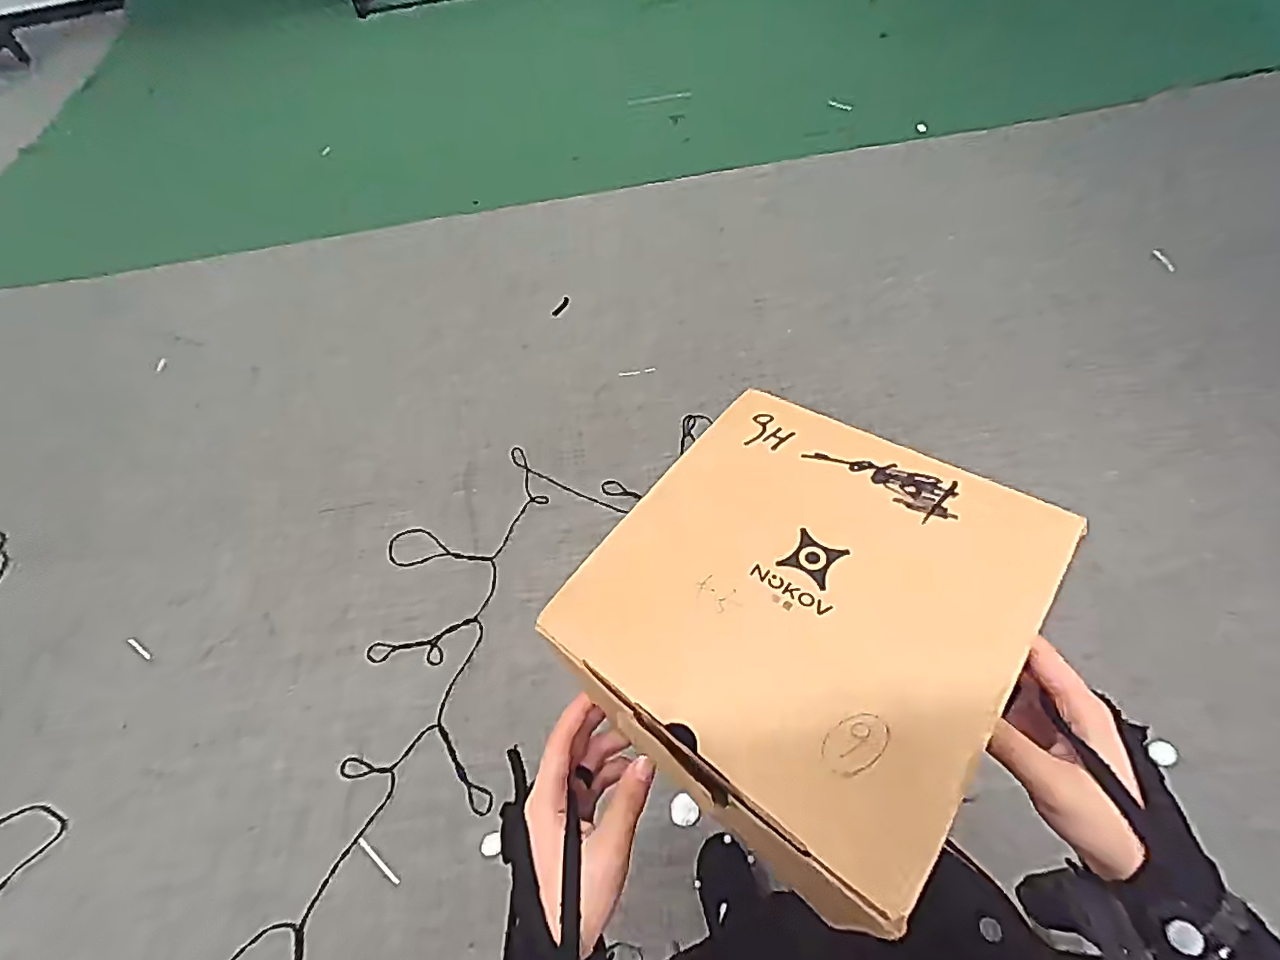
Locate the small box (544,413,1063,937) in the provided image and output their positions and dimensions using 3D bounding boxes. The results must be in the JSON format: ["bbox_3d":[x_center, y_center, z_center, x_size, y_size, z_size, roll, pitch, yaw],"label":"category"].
[{"bbox_3d":[0.084,0.101,0.302,0.168,0.176,0.179,29,64,30],"label":"small box"}]
